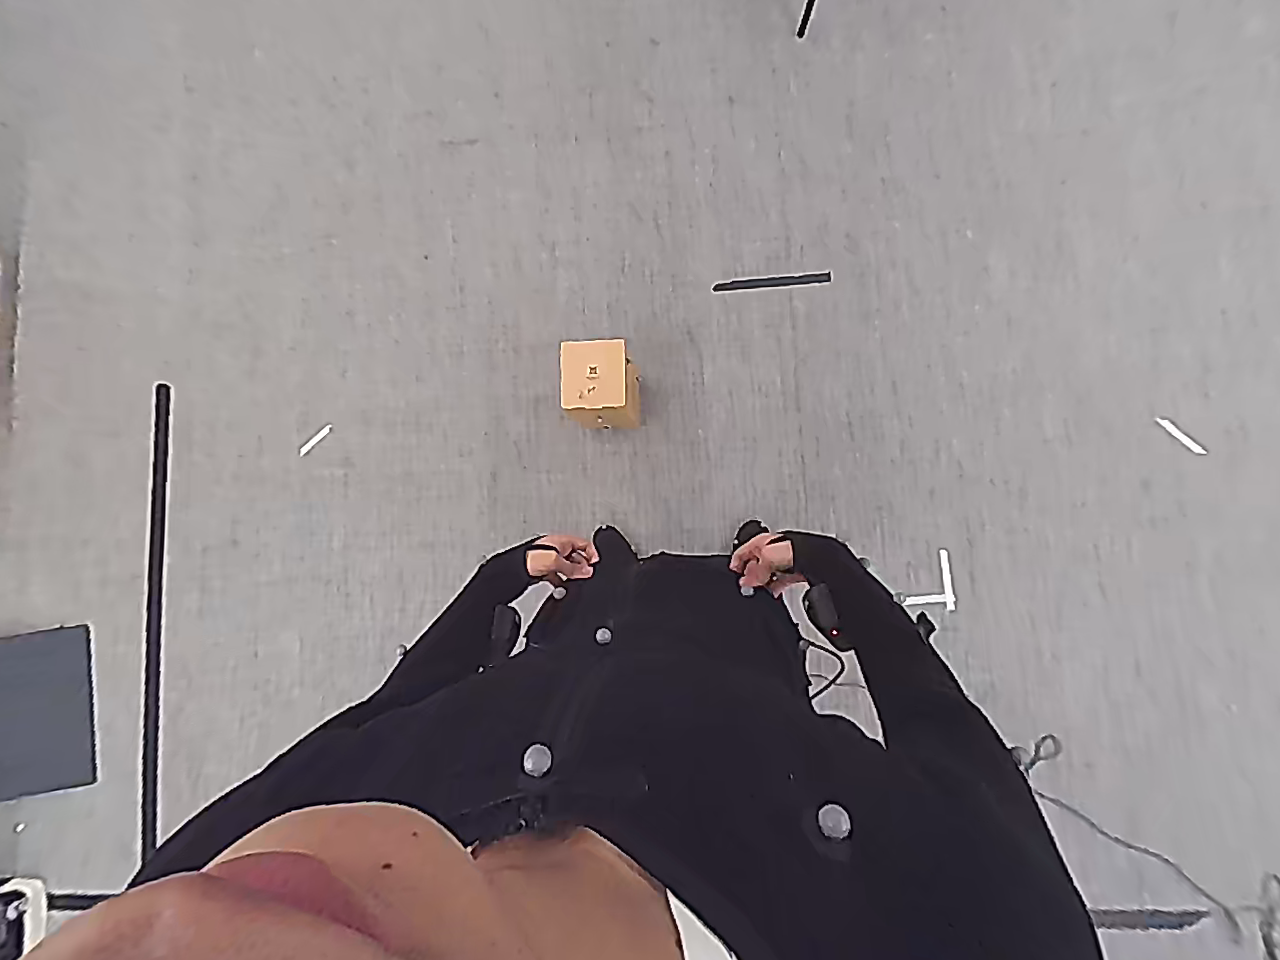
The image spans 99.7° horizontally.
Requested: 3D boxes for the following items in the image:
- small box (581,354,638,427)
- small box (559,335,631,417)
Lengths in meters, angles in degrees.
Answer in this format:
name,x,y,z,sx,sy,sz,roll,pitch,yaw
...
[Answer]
name,x,y,z,sx,sy,sz,roll,pitch,yaw
small box,-0.095,-0.259,1.587,0.168,0.176,0.179,0,85,5
small box,-0.114,-0.268,1.424,0.168,0.176,0.179,-1,86,5
